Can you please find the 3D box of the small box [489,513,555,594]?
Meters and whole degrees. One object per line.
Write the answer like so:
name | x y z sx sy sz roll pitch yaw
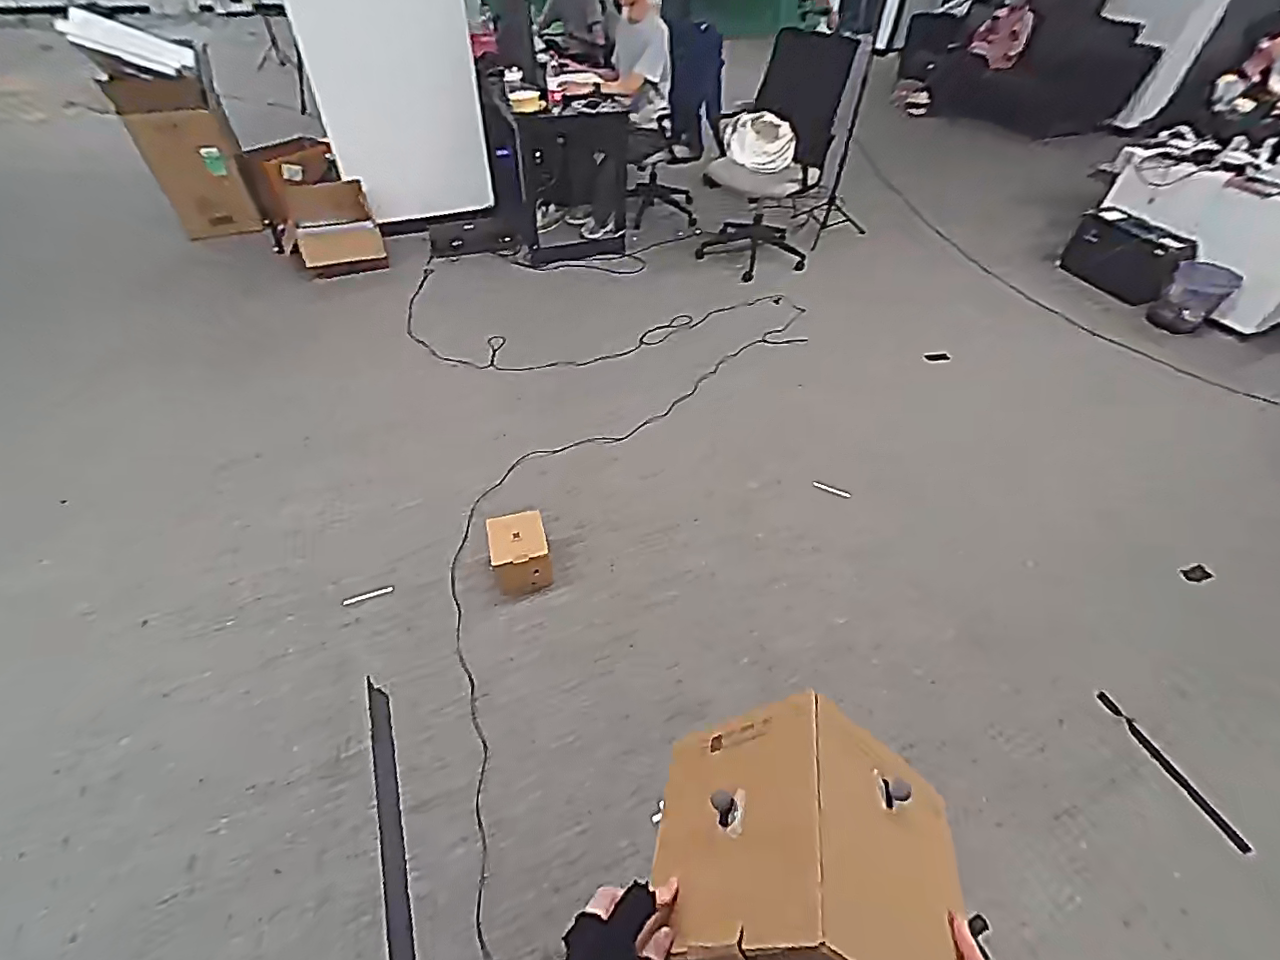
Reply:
small box | -0.362 0.234 1.667 0.168 0.176 0.179 -11 49 -13

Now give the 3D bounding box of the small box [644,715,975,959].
small box | 0.132 0.313 0.434 0.179 0.168 0.176 41 35 -15
